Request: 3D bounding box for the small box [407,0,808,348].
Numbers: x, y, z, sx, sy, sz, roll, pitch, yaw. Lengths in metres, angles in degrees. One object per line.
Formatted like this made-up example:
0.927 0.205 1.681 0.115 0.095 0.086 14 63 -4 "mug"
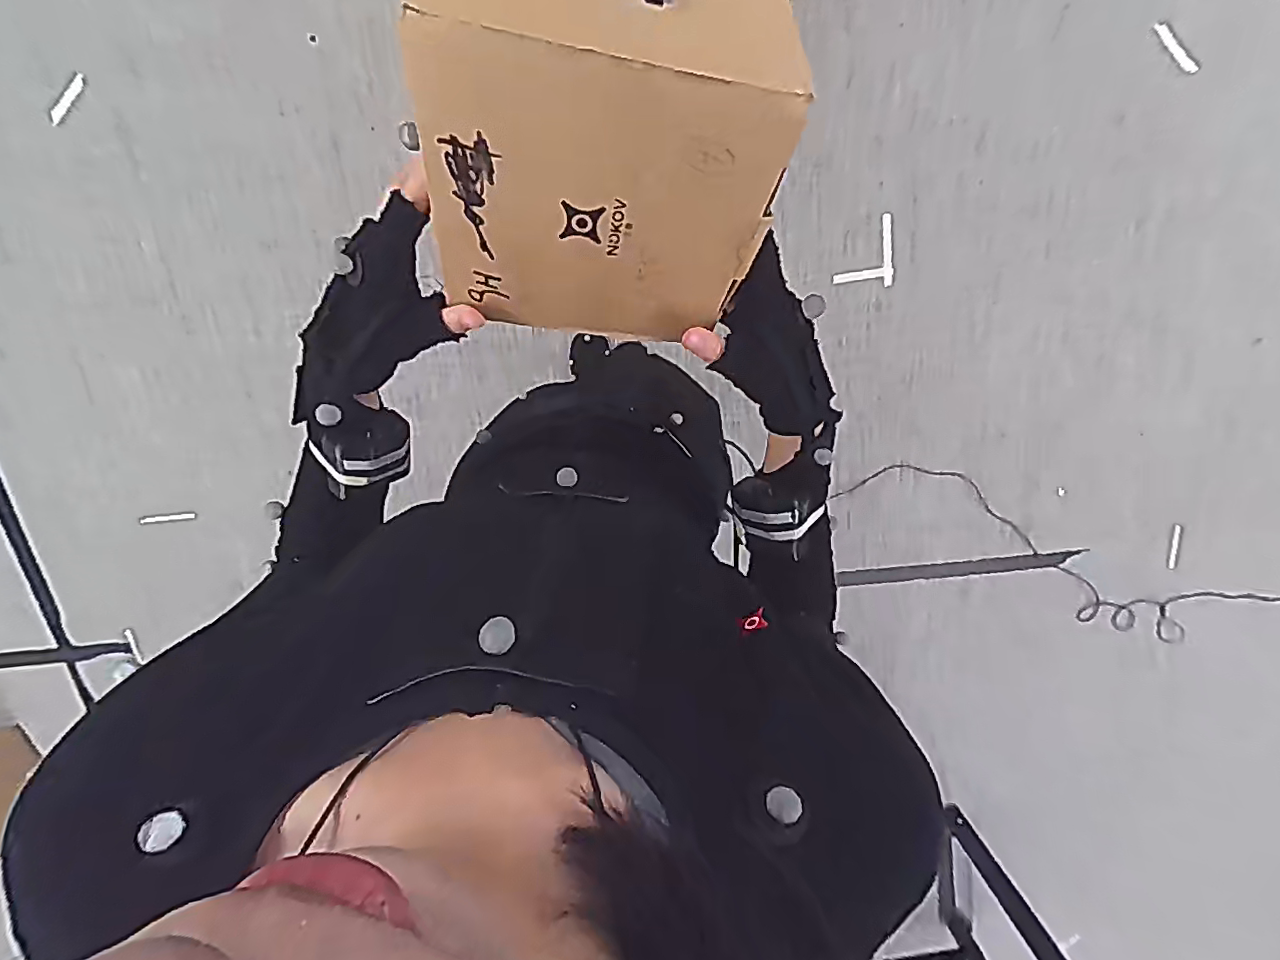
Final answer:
-0.027 -0.206 0.330 0.179 0.168 0.176 4 61 -11 "small box"
